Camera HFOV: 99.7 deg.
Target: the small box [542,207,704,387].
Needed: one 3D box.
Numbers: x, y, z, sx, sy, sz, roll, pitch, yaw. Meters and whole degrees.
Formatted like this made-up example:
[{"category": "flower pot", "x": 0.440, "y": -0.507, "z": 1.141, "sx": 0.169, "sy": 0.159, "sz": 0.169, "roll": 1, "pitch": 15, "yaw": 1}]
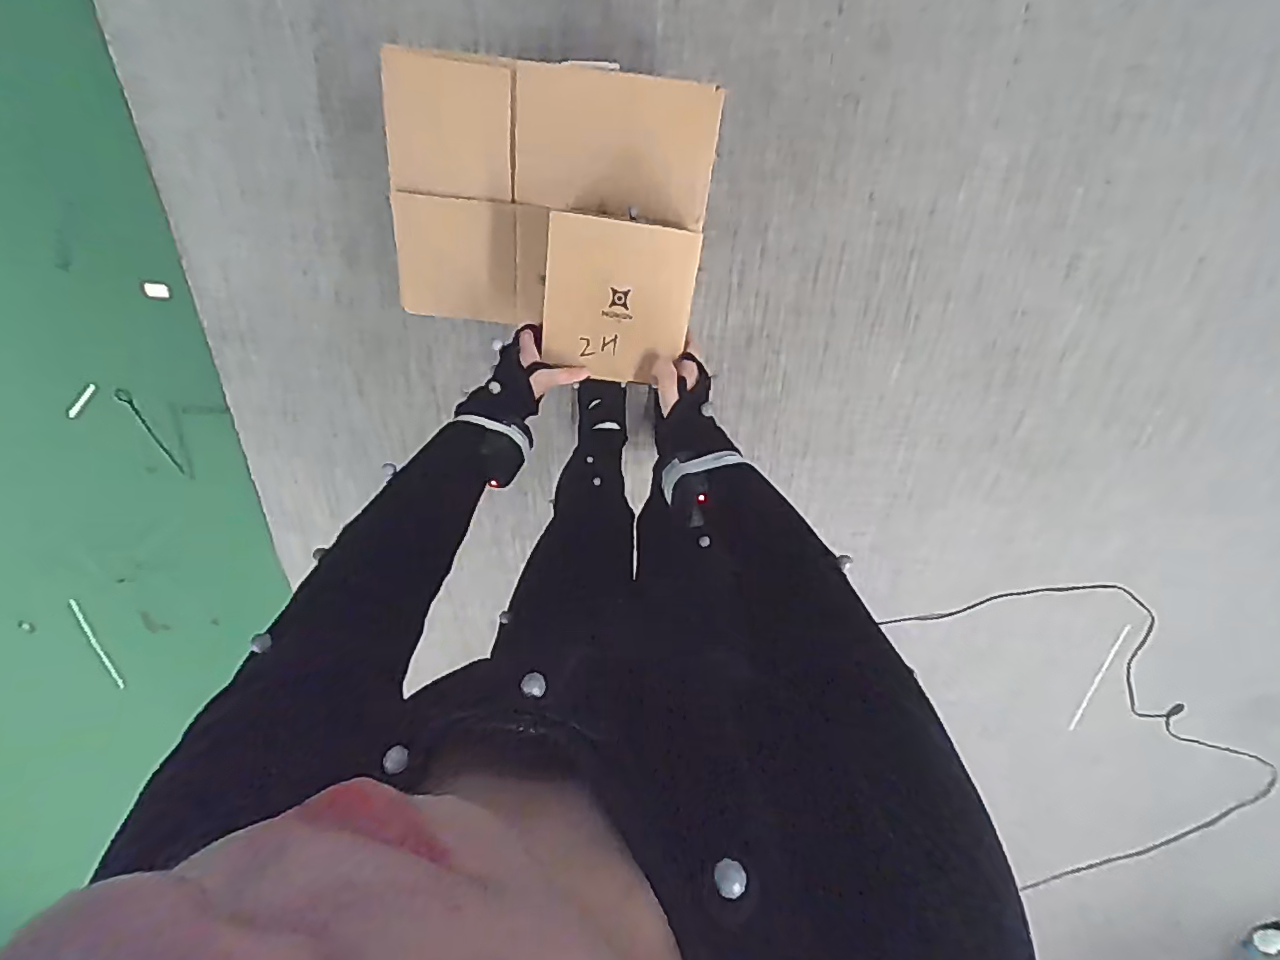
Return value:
[{"category": "small box", "x": -0.025, "y": -0.233, "z": 0.679, "sx": 0.168, "sy": 0.176, "sz": 0.179, "roll": 7, "pitch": 117, "yaw": -4}]
